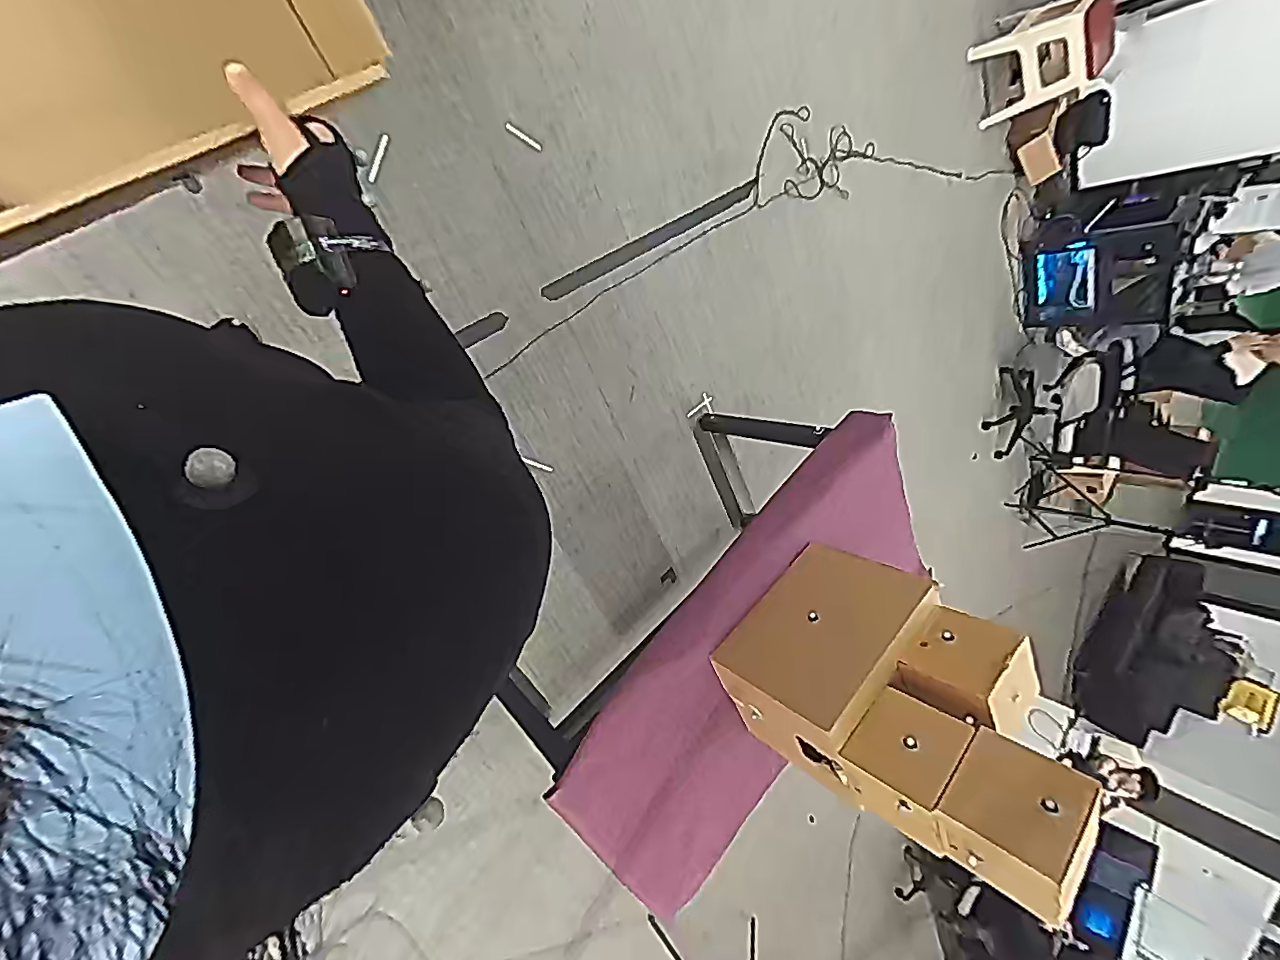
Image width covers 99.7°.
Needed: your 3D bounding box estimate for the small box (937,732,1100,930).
[{"bbox_3d":[0.607,0.552,0.874,0.179,0.176,0.168,-40,122,-25],"label":"small box"}]
